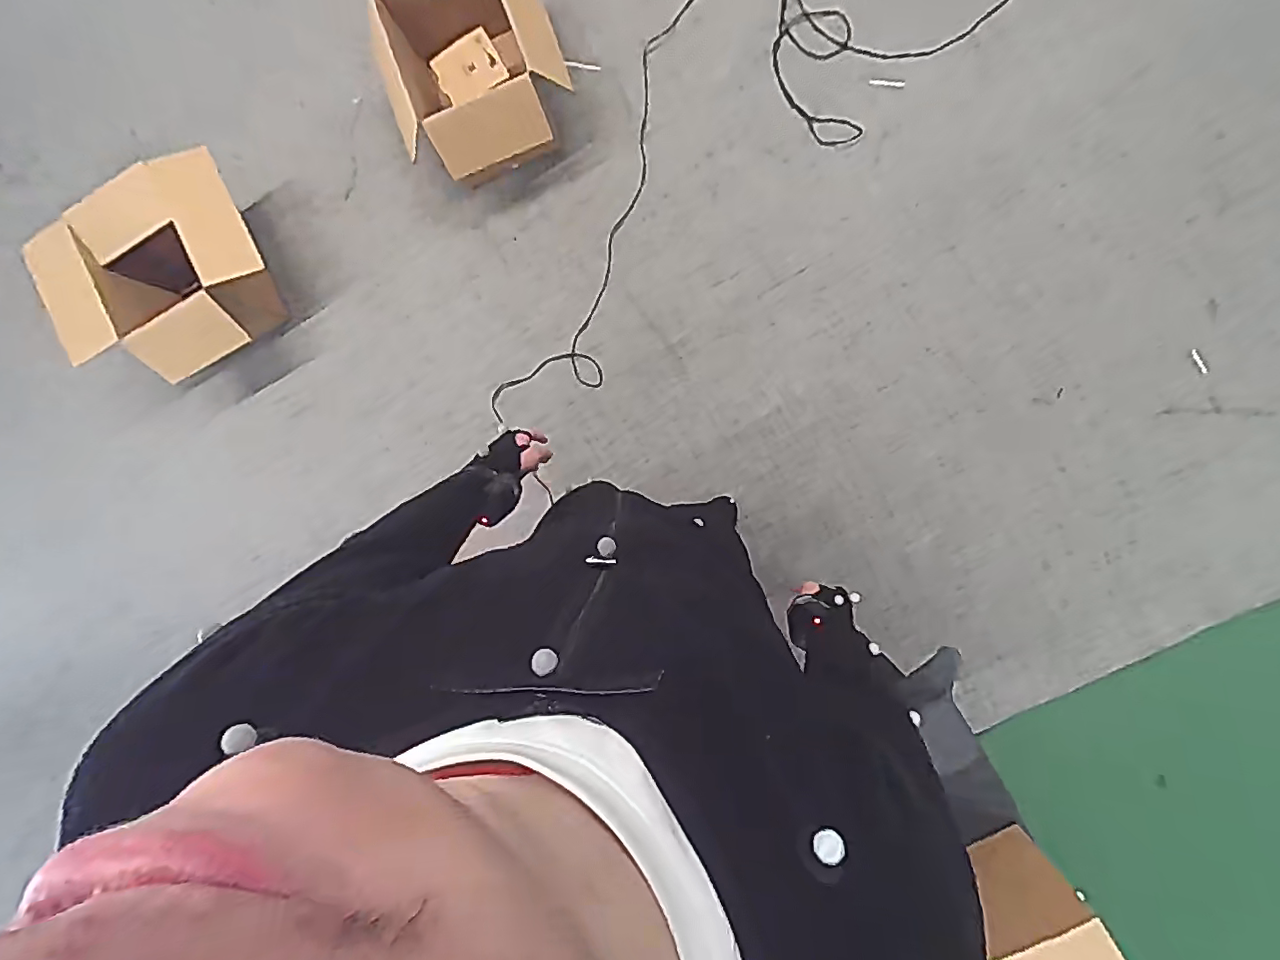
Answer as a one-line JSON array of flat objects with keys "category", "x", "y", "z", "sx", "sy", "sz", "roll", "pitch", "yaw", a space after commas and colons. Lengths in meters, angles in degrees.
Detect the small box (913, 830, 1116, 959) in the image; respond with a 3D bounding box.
[{"category": "small box", "x": 0.478, "y": 0.598, "z": 0.684, "sx": 0.179, "sy": 0.176, "sz": 0.168, "roll": -32, "pitch": 87, "yaw": 6}]
